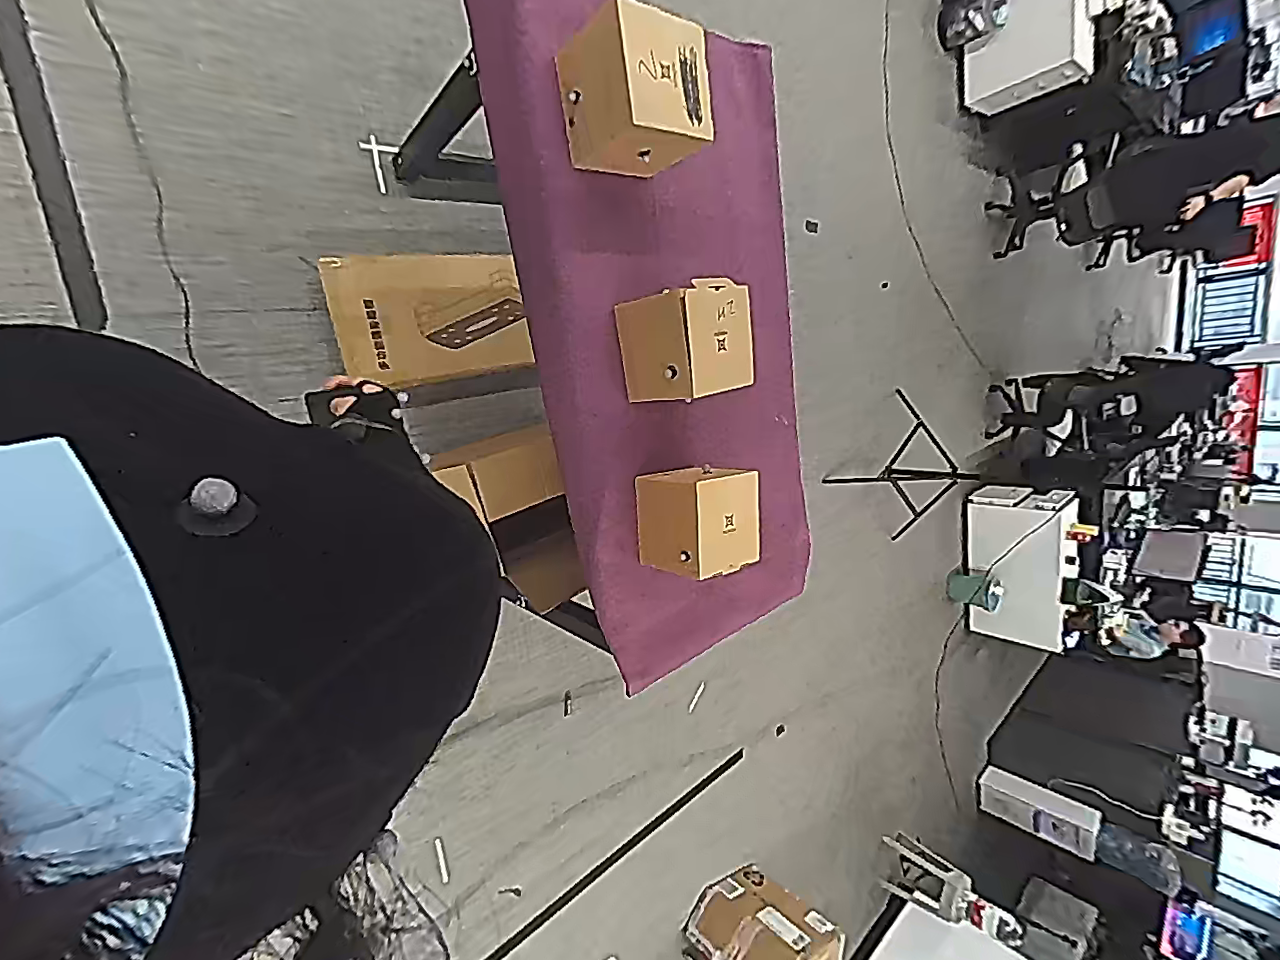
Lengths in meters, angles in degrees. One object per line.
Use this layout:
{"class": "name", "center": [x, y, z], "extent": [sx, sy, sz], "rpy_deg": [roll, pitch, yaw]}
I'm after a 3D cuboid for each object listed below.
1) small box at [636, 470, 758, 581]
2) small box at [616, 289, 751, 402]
{"class": "small box", "center": [0.105, 0.075, 1.028], "extent": [0.168, 0.176, 0.179], "rpy_deg": [-9, 100, -39]}
{"class": "small box", "center": [0.078, -0.238, 0.974], "extent": [0.168, 0.176, 0.179], "rpy_deg": [-19, 106, -40]}
